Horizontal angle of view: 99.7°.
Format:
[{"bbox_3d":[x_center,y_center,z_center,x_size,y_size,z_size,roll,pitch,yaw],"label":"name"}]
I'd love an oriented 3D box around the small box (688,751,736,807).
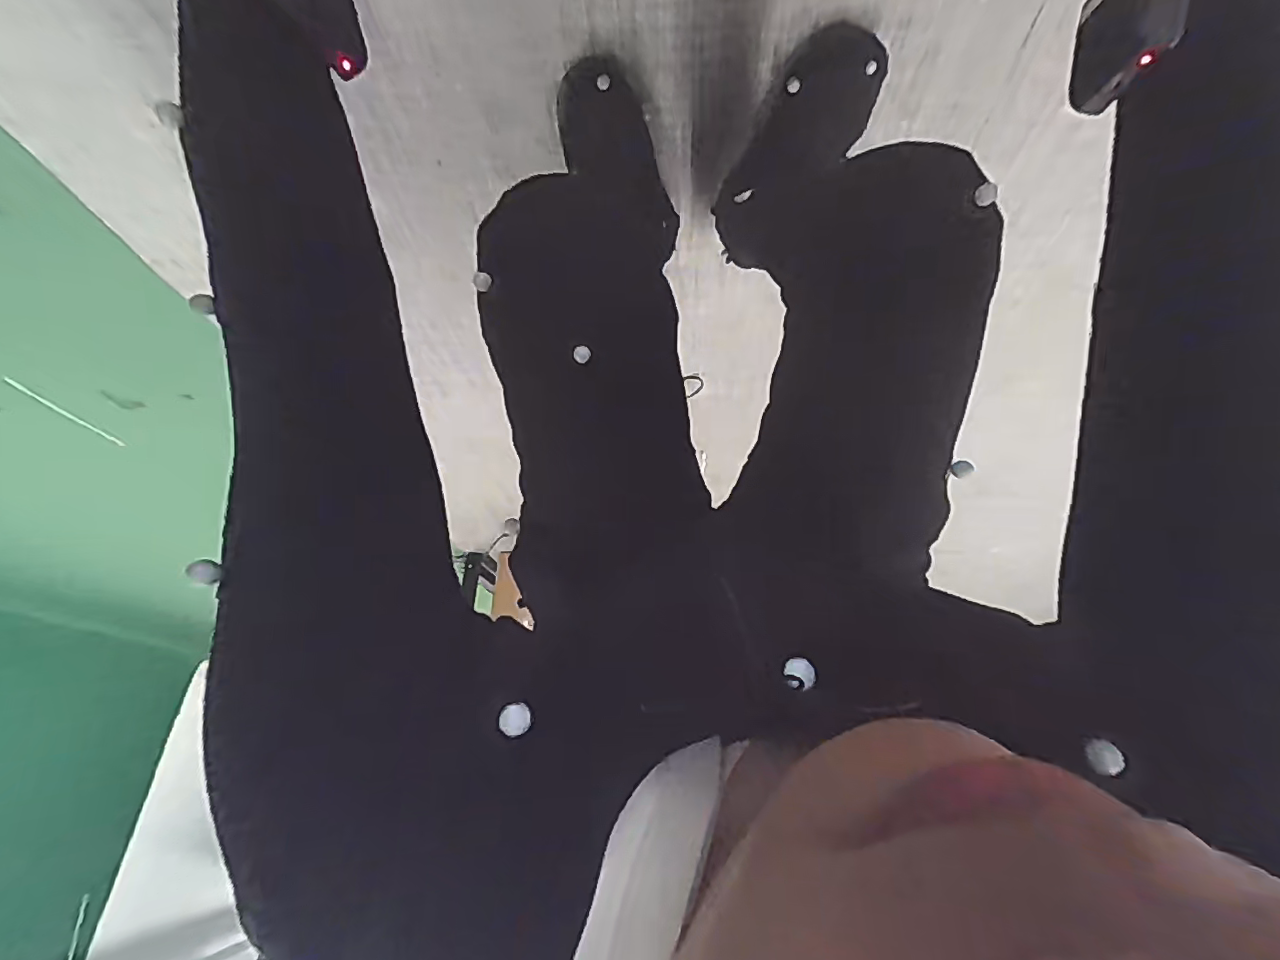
[{"bbox_3d":[0.259,1.087,1.974,0.168,0.176,0.179,-1,154,7],"label":"small box"}]
